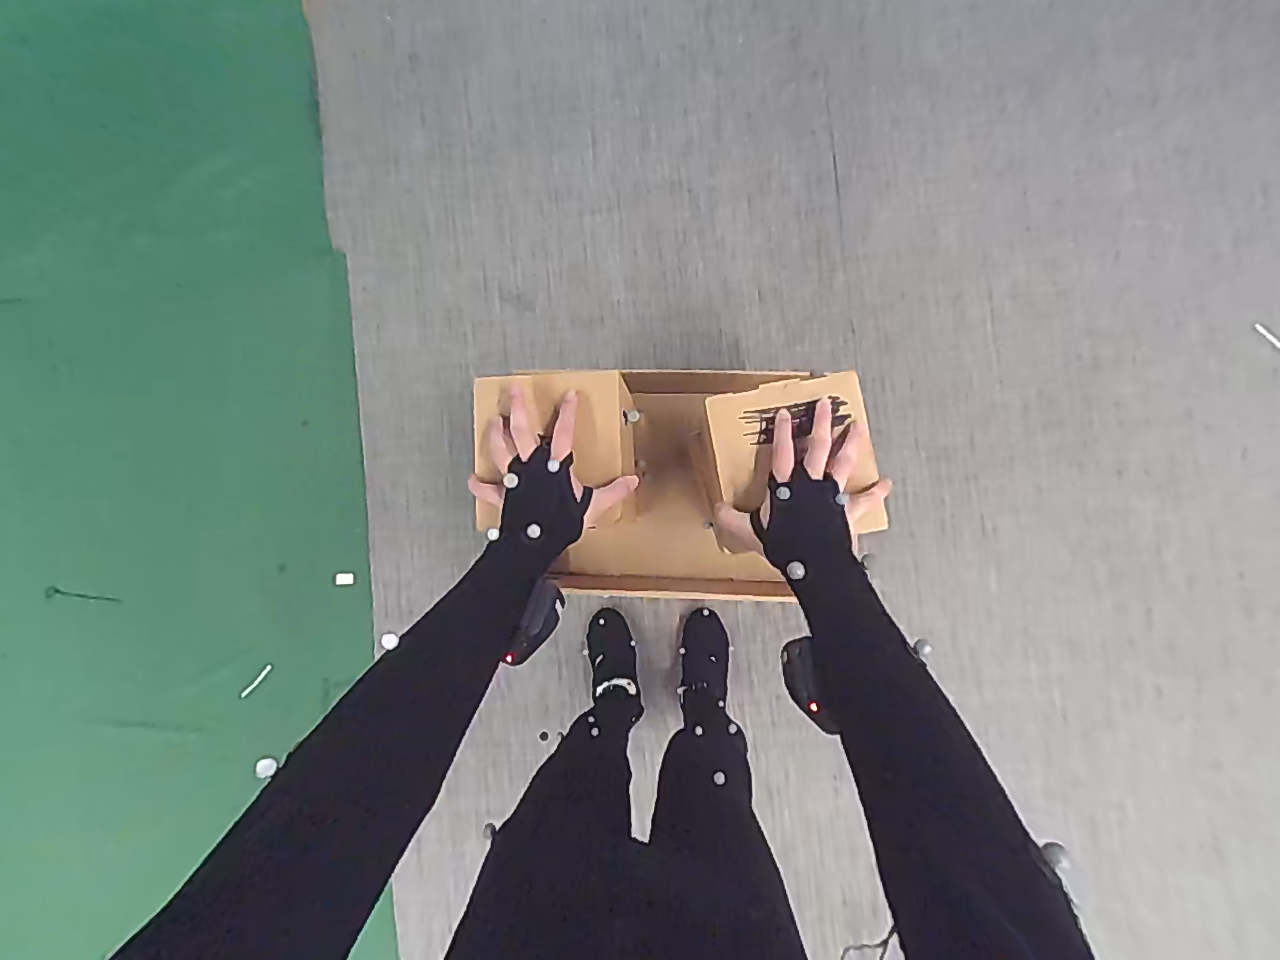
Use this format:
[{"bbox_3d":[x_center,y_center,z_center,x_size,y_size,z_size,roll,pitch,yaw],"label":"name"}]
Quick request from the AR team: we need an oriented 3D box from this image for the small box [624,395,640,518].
[{"bbox_3d":[-0.089,-0.027,0.845,0.168,0.176,0.179,-2,87,5],"label":"small box"}]

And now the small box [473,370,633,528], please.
[{"bbox_3d":[-0.100,-0.029,0.680,0.168,0.176,0.179,-2,87,5],"label":"small box"}]

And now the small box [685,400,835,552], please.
[{"bbox_3d":[0.172,-0.001,0.819,0.168,0.176,0.179,-17,84,4],"label":"small box"}]
